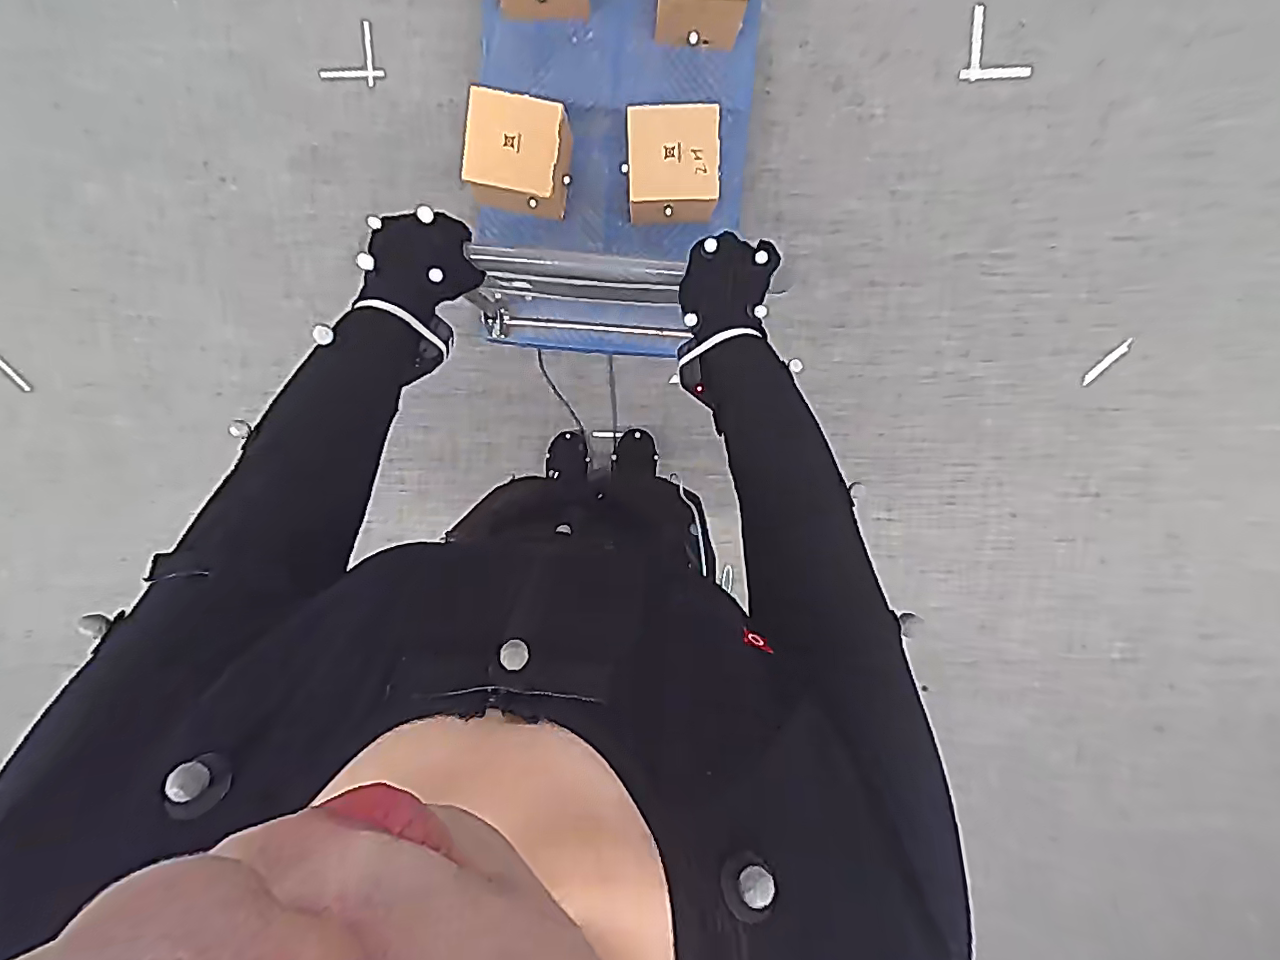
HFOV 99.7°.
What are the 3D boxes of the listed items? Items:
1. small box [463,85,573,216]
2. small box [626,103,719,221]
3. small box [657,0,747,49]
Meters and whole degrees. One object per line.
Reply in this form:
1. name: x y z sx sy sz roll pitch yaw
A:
1. small box: -0.242 -0.659 1.104 0.179 0.176 0.168 9 100 -3
2. small box: 0.064 -0.641 1.107 0.179 0.176 0.168 -1 101 0
3. small box: 0.121 -0.982 1.041 0.168 0.176 0.179 4 102 -1
